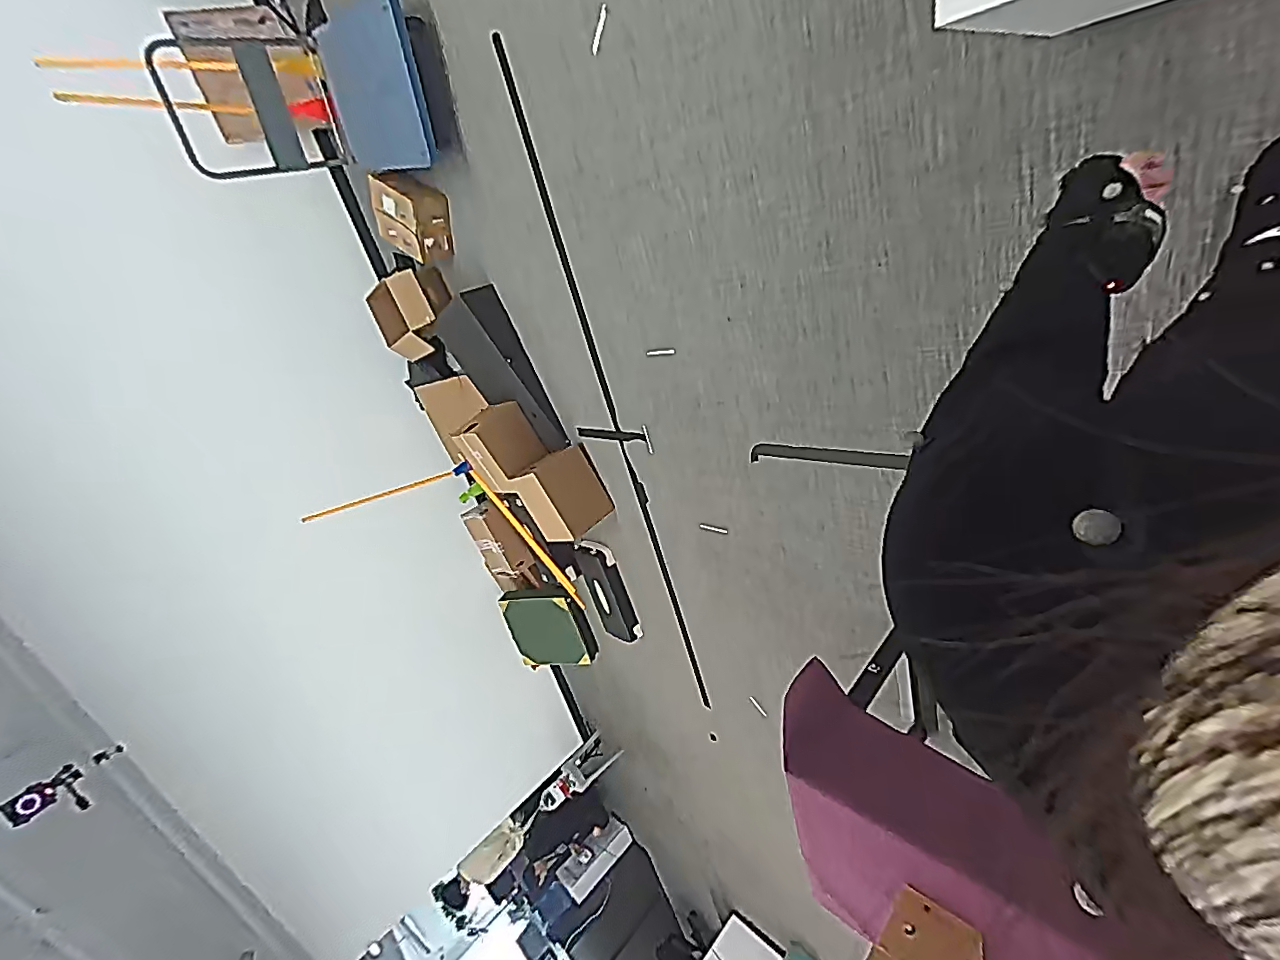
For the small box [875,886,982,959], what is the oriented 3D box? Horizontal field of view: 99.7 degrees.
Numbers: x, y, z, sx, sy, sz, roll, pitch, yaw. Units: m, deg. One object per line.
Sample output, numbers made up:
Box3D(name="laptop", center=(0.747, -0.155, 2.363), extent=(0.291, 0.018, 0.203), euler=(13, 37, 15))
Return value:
Box3D(name="small box", center=(0.659, 1.087, 1.230), extent=(0.168, 0.176, 0.179), euler=(11, 125, 48))
